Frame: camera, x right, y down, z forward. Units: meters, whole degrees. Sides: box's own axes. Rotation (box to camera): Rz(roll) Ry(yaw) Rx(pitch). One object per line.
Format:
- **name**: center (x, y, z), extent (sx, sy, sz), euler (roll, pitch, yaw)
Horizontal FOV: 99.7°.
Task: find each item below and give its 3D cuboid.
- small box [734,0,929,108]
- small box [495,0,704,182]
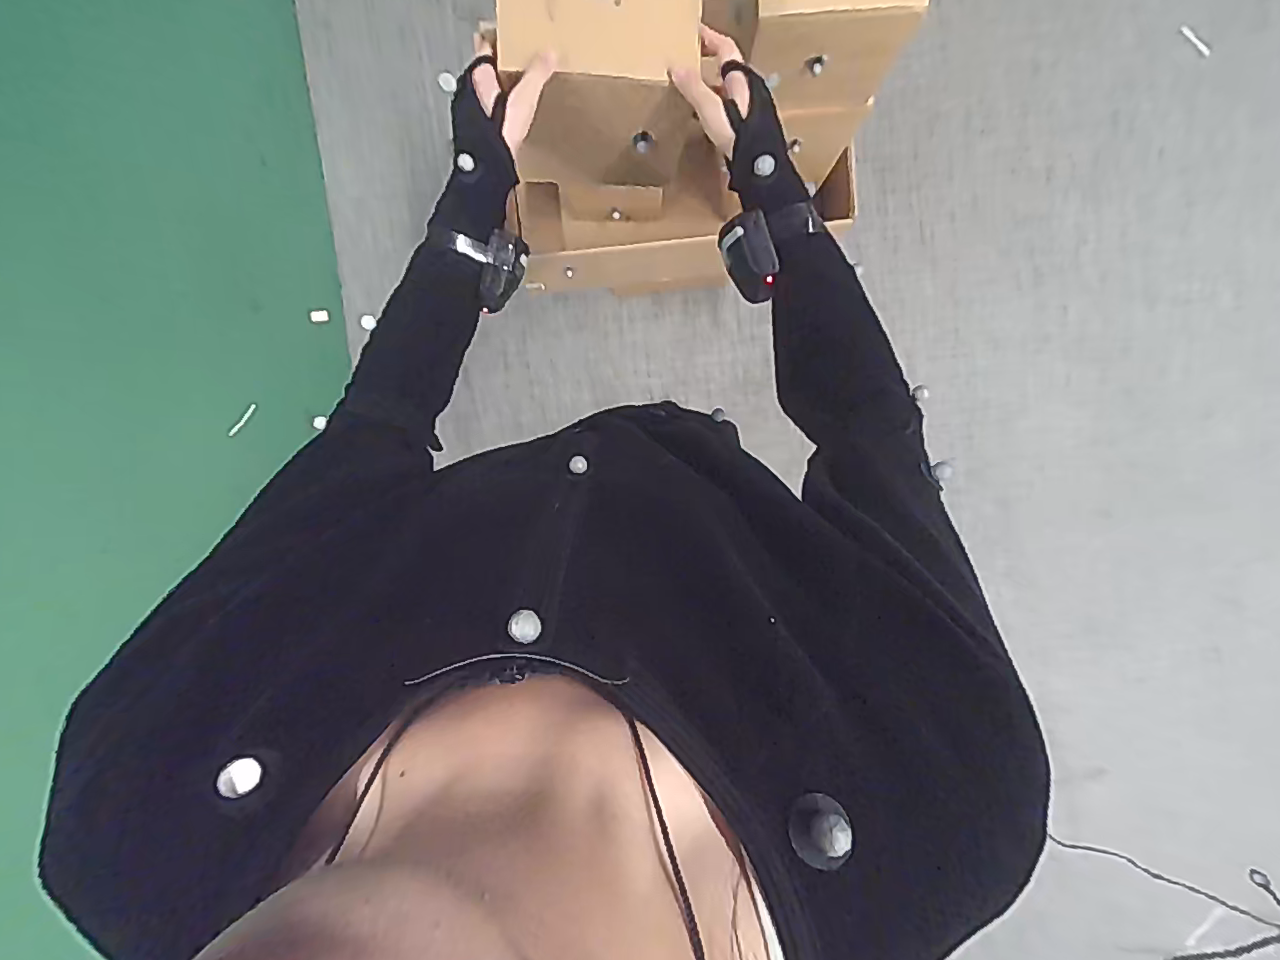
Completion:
- **small box**: center (0.208, -0.565, 0.623), extent (0.179, 0.176, 0.168), euler (-2, 95, 3)
- **small box**: center (-0.042, -0.419, 0.531), extent (0.179, 0.176, 0.168), euler (0, 89, -6)
